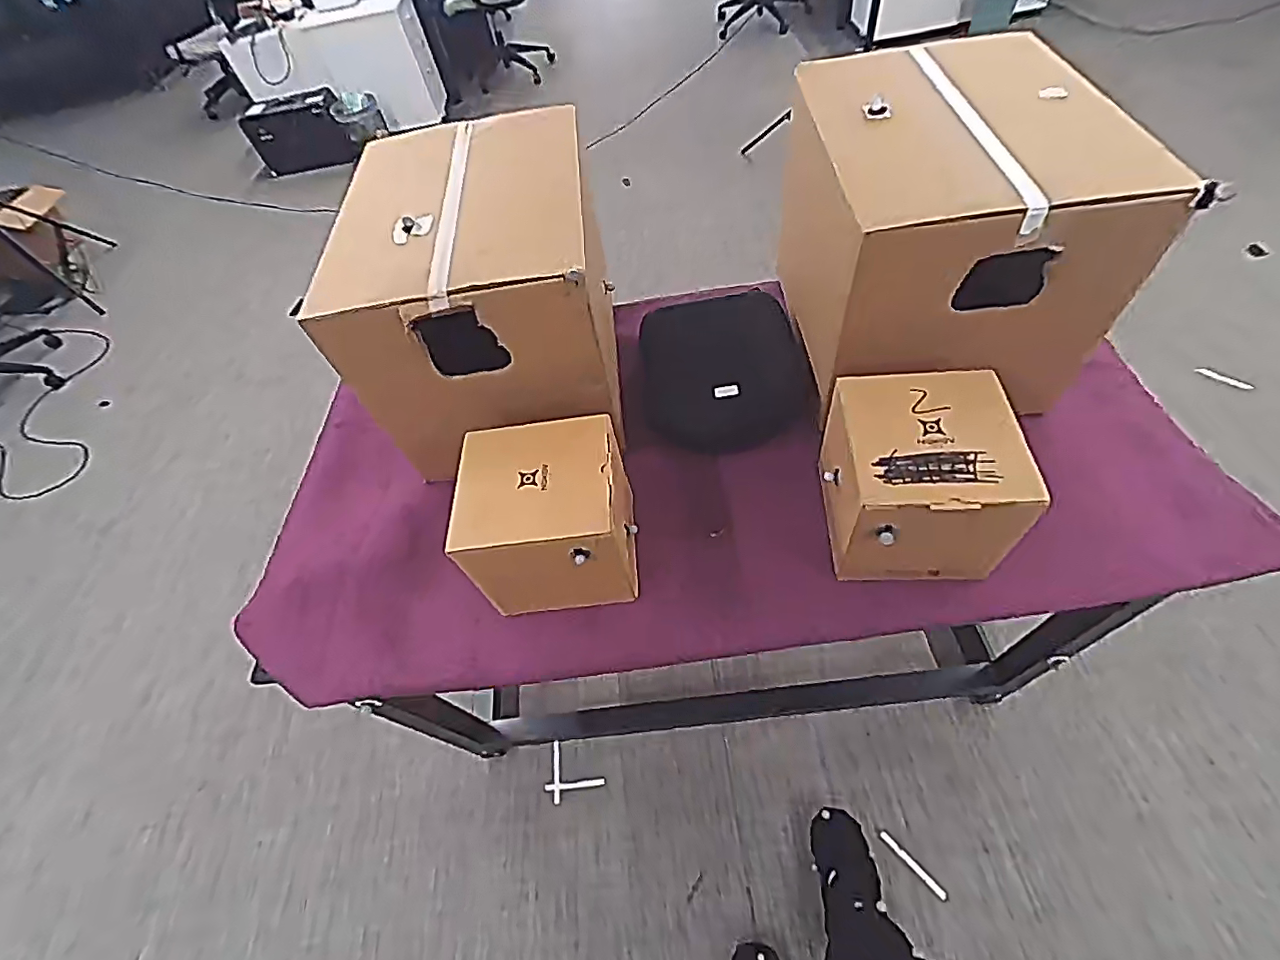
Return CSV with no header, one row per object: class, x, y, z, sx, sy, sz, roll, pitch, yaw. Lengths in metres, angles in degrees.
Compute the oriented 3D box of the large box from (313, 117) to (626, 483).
large box,-0.208,-0.258,0.802,0.320,0.320,0.408,-10,57,3
